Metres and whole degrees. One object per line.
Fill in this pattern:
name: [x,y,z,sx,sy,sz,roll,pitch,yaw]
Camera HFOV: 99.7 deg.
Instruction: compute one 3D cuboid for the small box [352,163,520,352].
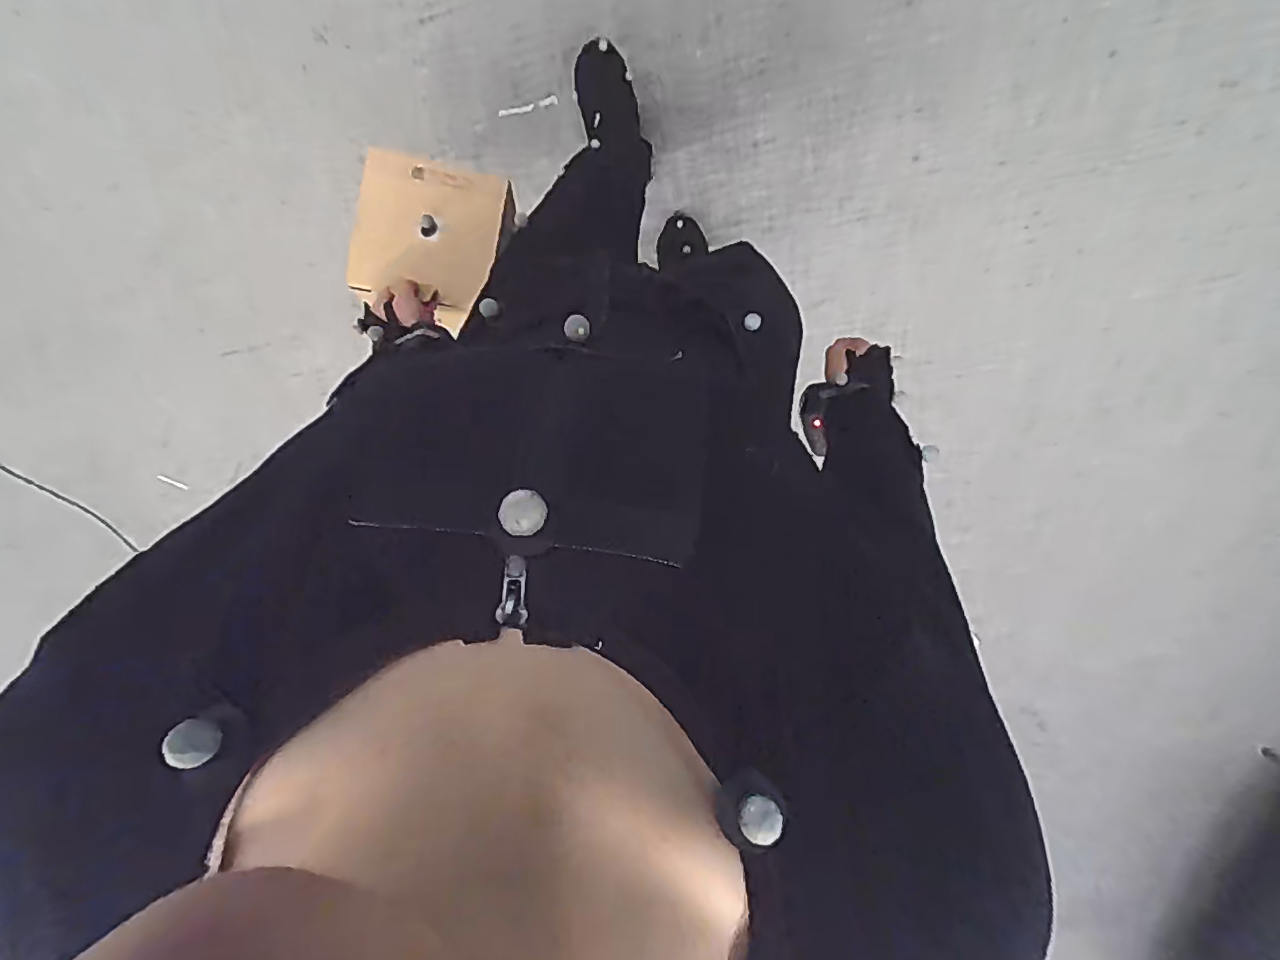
small box: [-0.262,-0.290,0.732,0.168,0.179,0.176,10,89,-8]
